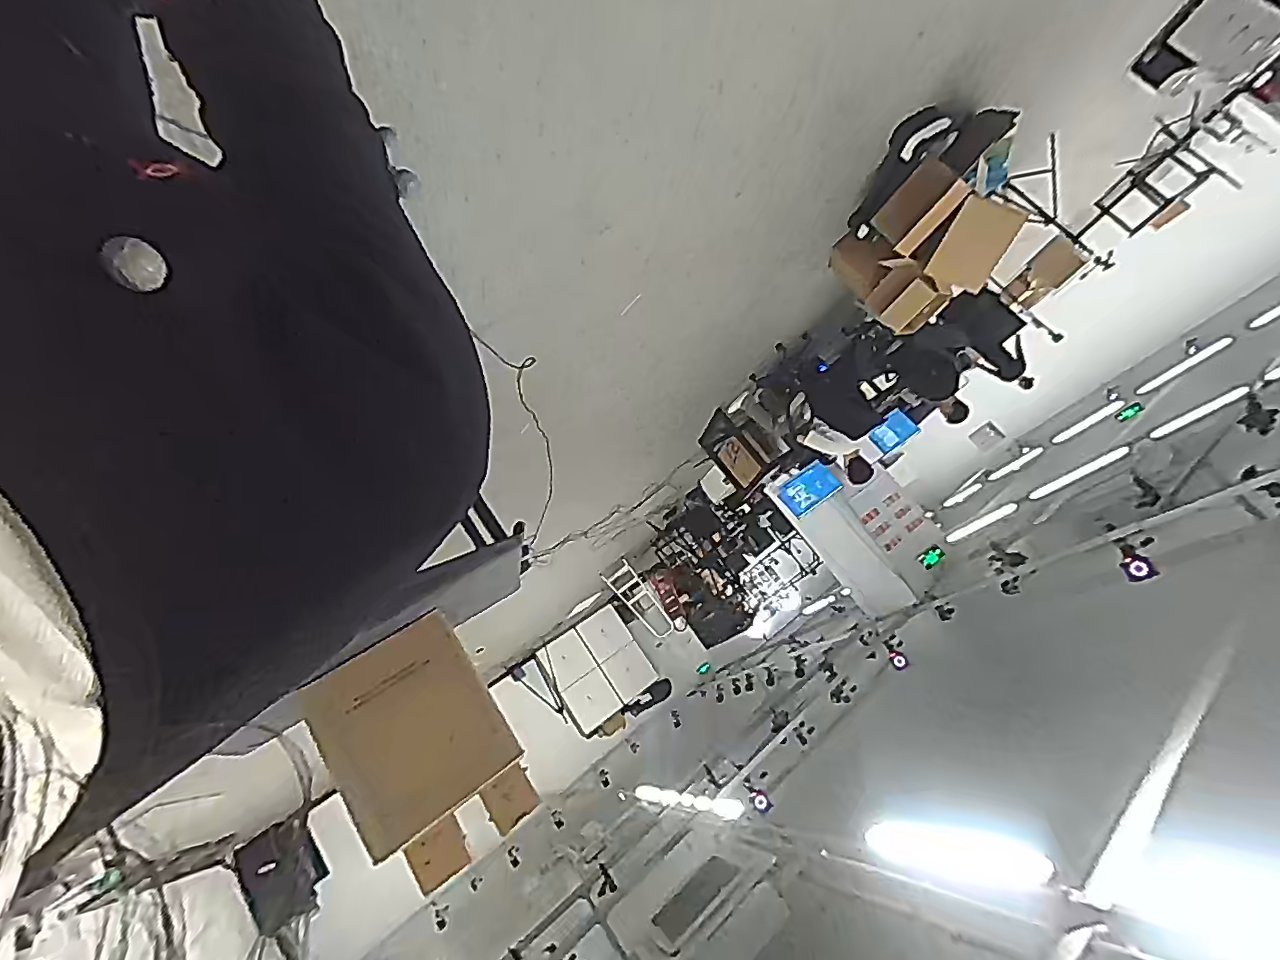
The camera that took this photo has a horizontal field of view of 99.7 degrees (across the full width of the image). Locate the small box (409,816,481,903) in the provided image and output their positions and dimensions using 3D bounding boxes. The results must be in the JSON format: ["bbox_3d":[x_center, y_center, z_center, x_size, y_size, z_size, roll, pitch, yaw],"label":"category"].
[{"bbox_3d":[-0.656,1.266,1.820,0.168,0.176,0.179,-30,162,-25],"label":"small box"}]

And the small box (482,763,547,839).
[{"bbox_3d":[-0.452,1.145,1.937,0.168,0.176,0.179,-32,161,-26],"label":"small box"}]
